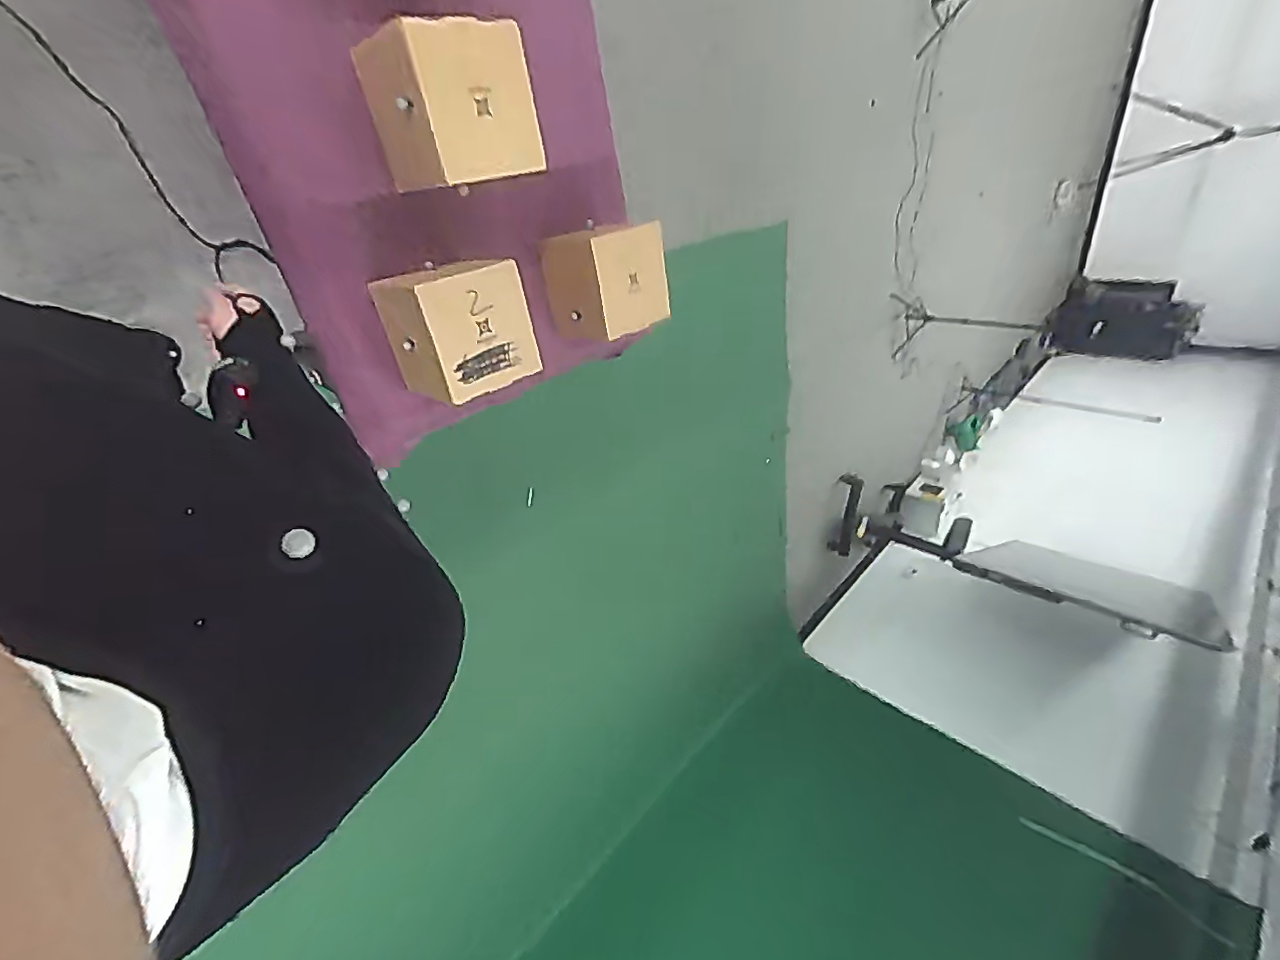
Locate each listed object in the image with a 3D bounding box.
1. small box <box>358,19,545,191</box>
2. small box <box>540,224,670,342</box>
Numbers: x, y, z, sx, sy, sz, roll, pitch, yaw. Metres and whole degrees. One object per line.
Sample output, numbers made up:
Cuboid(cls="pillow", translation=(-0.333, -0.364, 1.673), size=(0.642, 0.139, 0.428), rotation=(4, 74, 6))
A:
Cuboid(cls="small box", translation=(-0.263, -0.517, 0.764), size=(0.168, 0.176, 0.179), rotation=(-32, 127, -33))
Cuboid(cls="small box", translation=(-0.066, -0.380, 1.027), size=(0.168, 0.176, 0.179), rotation=(-31, 127, -33))
